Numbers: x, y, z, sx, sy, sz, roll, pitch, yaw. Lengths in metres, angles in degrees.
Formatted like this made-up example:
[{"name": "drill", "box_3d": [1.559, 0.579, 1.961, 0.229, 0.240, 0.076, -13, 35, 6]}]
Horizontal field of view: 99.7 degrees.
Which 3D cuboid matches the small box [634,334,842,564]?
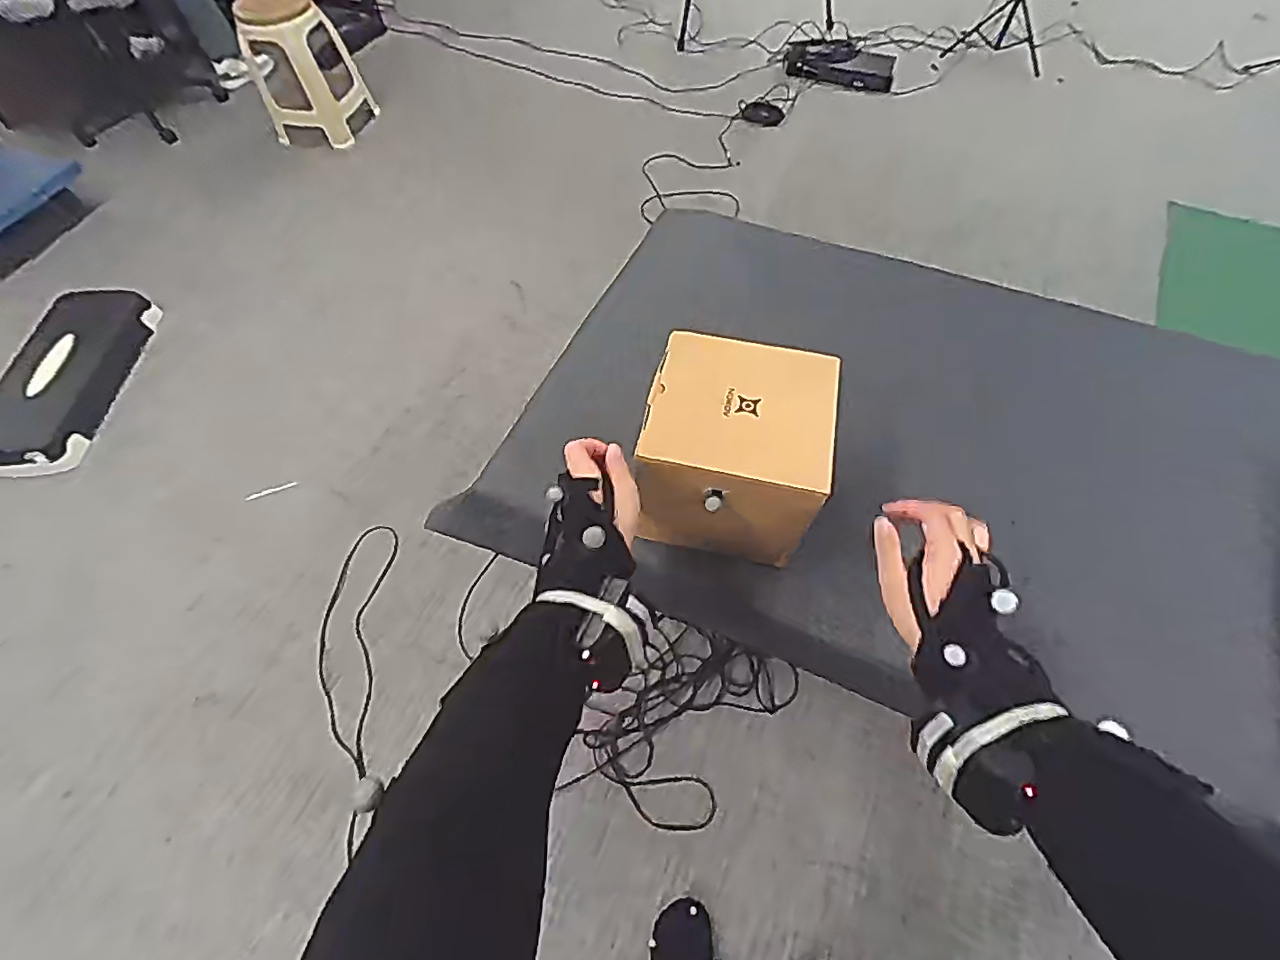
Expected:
[{"name": "small box", "box_3d": [0.099, -0.025, 0.579, 0.179, 0.176, 0.168, 11, 59, 8]}]
